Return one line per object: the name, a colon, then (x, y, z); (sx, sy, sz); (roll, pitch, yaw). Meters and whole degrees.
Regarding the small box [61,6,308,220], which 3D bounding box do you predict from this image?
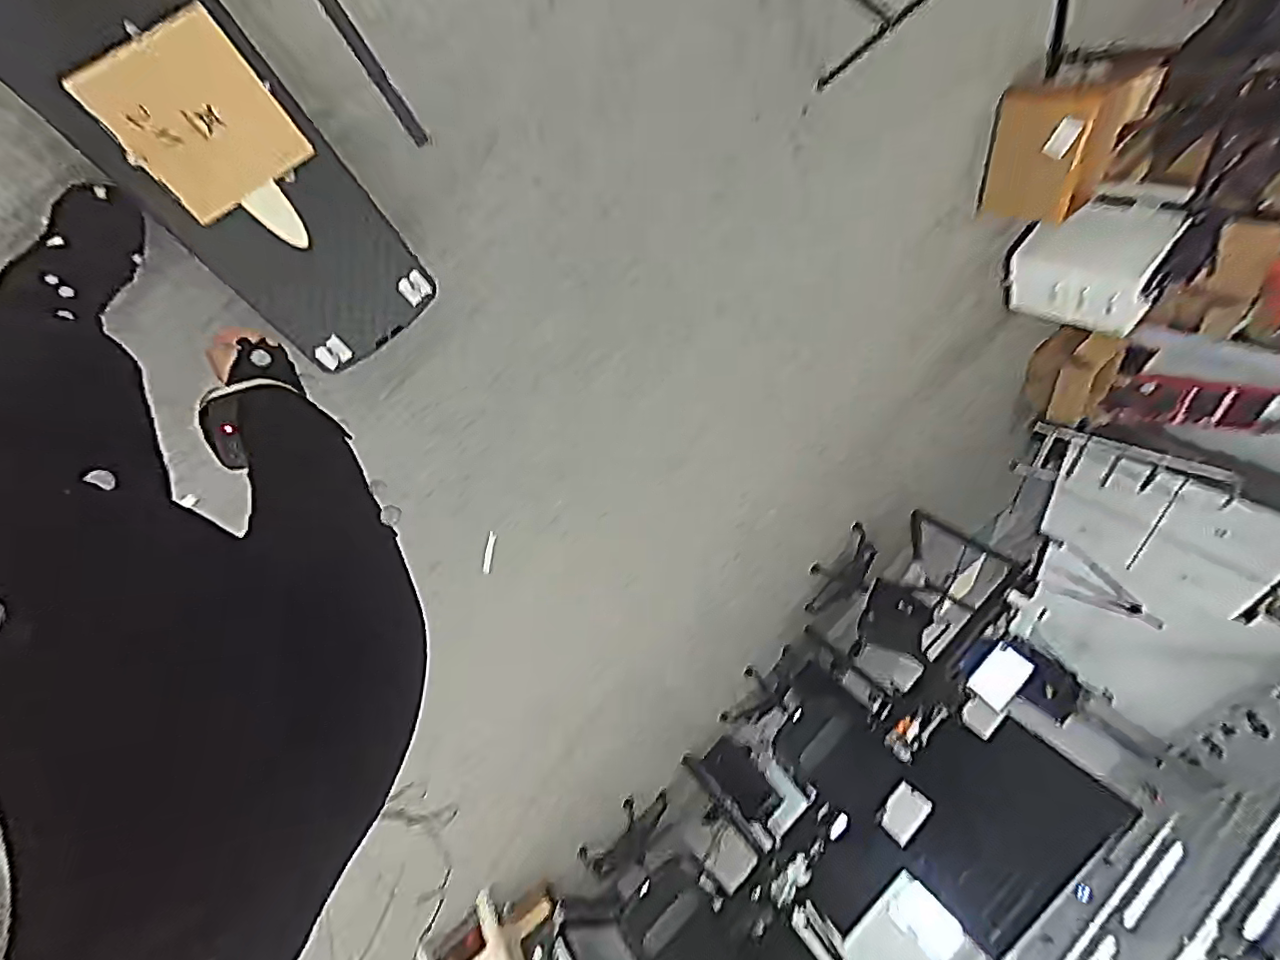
small box: (-0.584, -0.475, 0.707); (0.179, 0.176, 0.168); (-42, 137, -11)
